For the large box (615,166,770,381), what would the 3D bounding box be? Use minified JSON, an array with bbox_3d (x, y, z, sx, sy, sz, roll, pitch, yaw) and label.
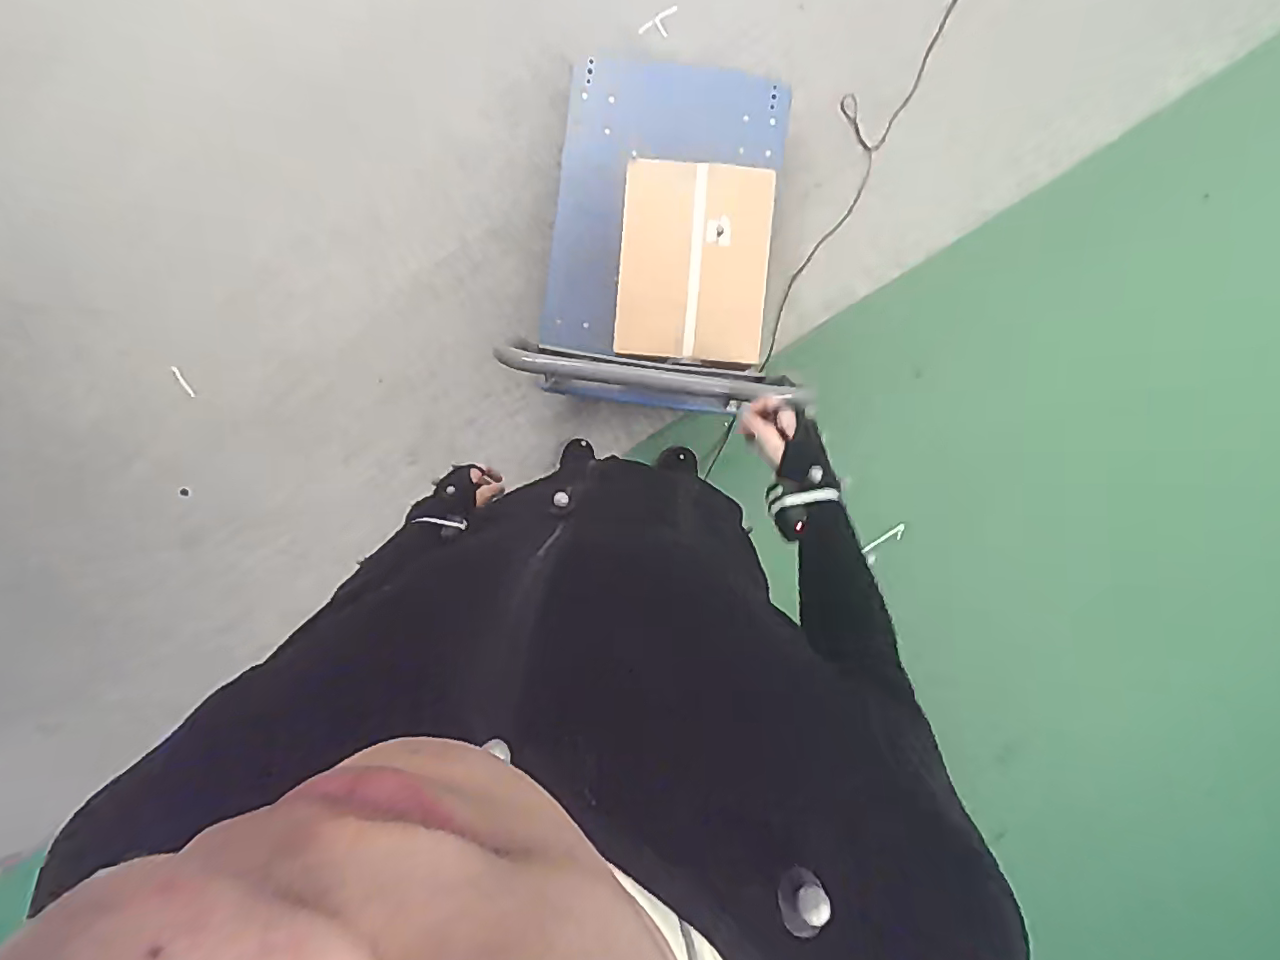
[{"bbox_3d":[0.111,-0.466,1.307,0.320,0.320,0.408,5,93,-2],"label":"large box"}]
